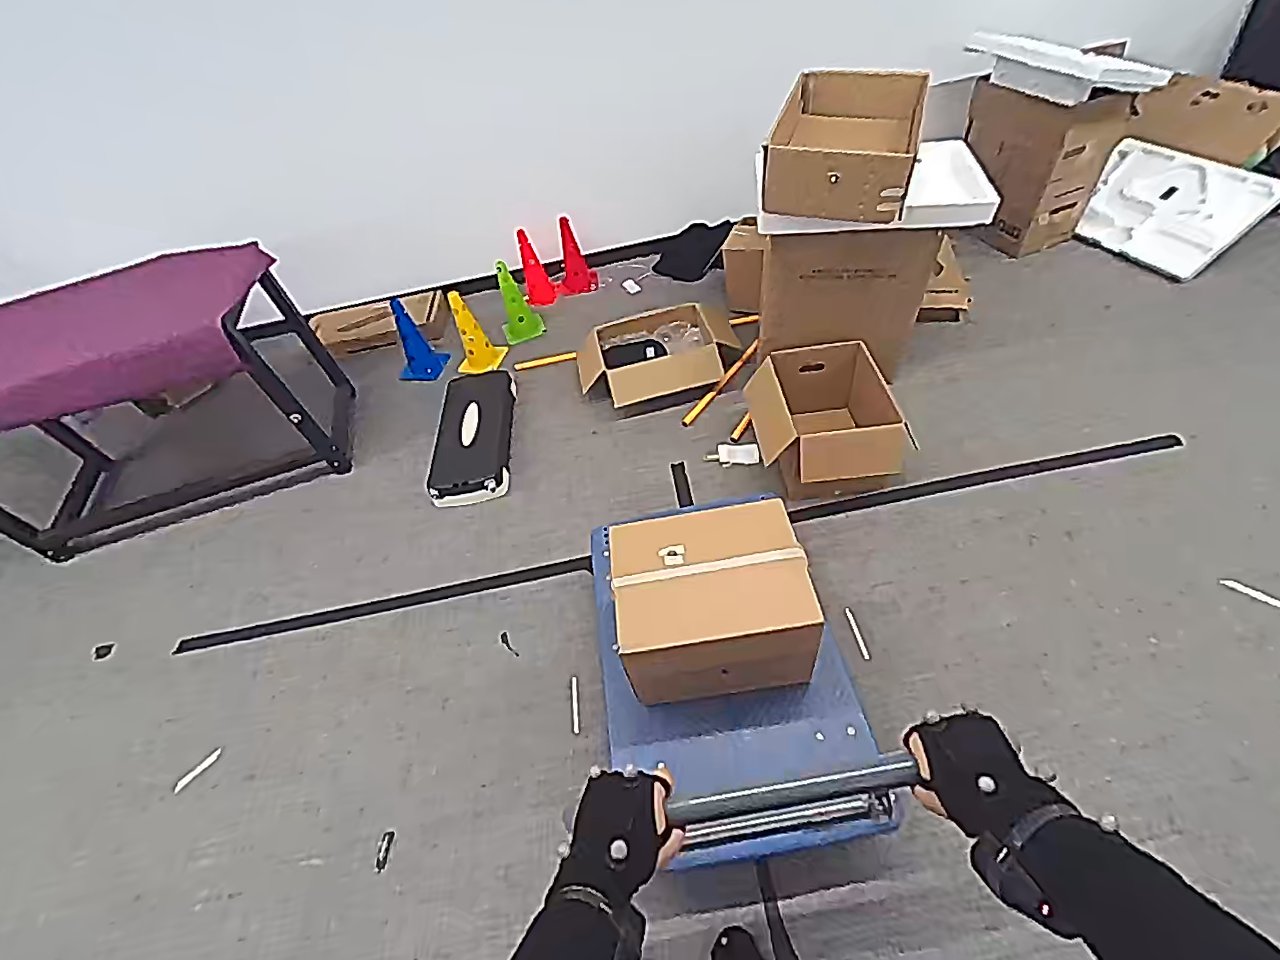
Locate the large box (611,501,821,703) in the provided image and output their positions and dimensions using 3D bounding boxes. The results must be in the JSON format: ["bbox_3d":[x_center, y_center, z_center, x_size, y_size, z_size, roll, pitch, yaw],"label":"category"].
[{"bbox_3d":[0.168,0.293,1.269,0.408,0.320,0.320,-11,48,3],"label":"large box"}]
